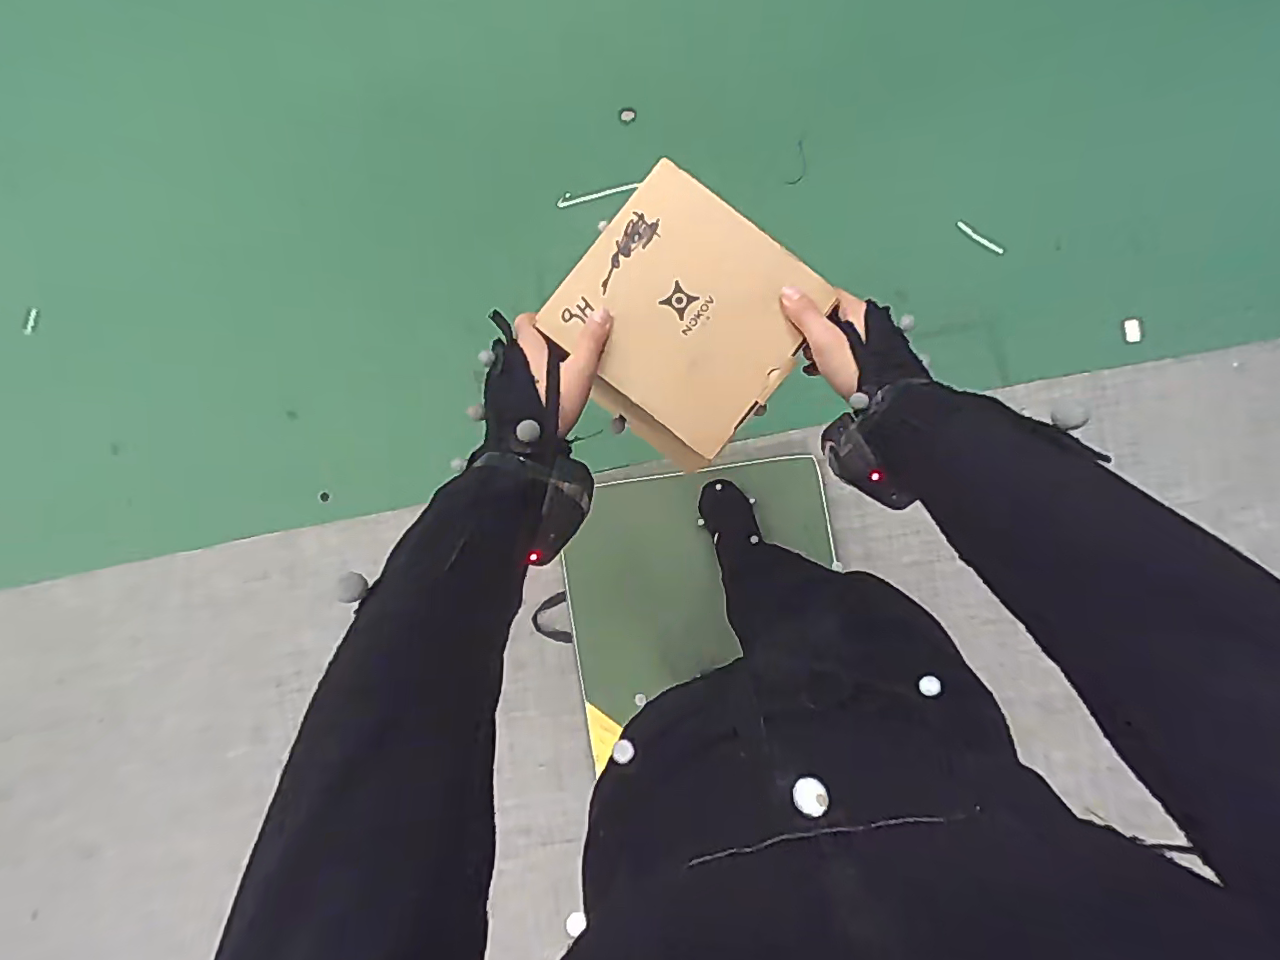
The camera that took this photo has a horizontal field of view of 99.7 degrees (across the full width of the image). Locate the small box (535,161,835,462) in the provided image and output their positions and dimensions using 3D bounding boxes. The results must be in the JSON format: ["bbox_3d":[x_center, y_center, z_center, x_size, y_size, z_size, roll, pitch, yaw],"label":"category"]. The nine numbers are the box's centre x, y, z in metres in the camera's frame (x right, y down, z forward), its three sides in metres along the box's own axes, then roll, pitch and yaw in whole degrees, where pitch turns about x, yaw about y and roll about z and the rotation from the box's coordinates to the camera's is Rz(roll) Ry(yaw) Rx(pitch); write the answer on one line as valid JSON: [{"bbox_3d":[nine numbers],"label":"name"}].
[{"bbox_3d":[0.034,-0.131,0.494,0.179,0.176,0.168,38,88,-1],"label":"small box"}]
